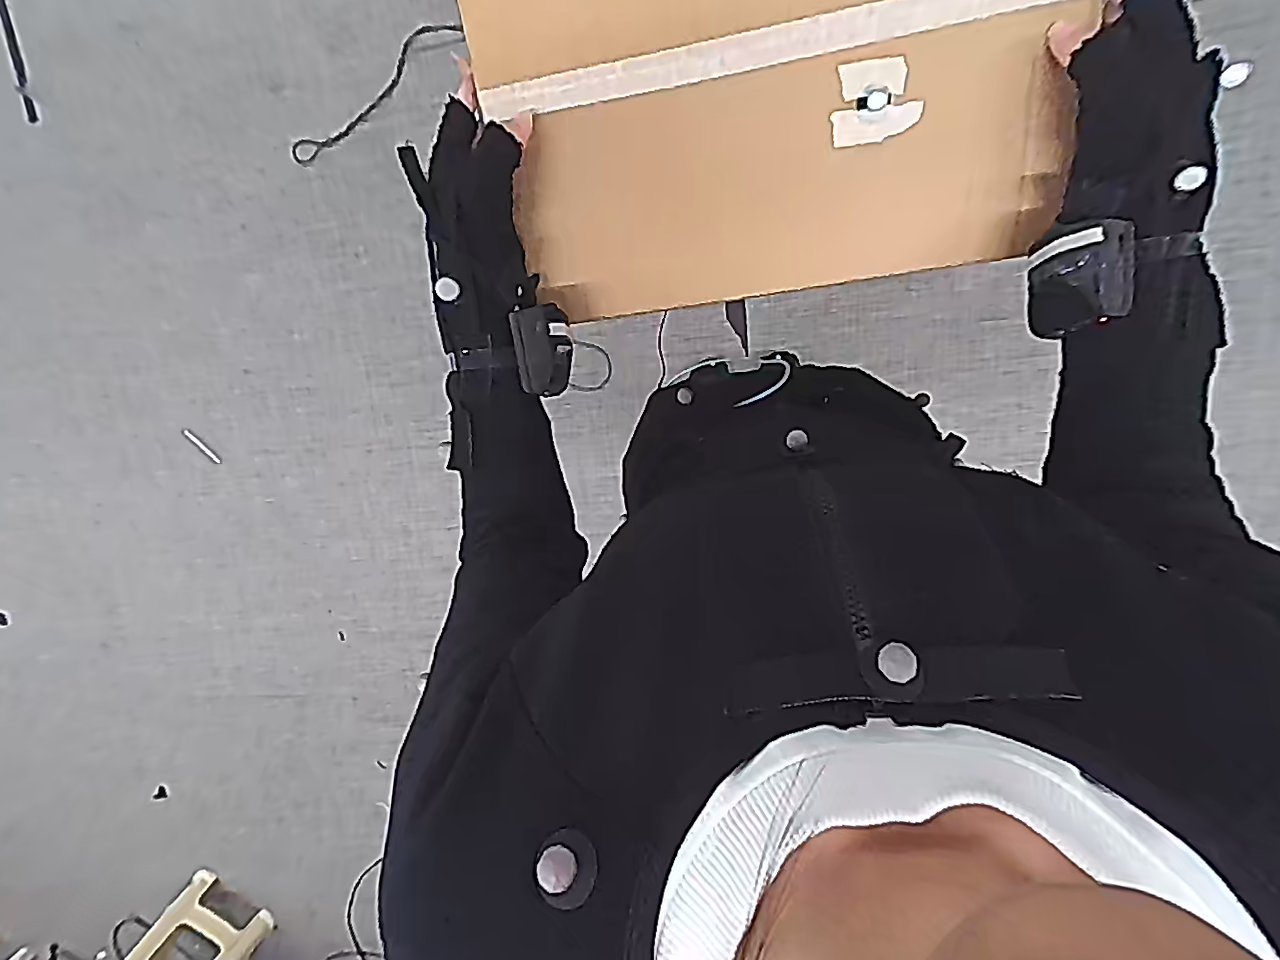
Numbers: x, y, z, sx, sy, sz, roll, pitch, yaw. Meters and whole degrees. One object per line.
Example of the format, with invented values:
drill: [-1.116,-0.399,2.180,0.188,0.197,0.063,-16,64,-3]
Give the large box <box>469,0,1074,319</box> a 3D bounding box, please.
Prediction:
large box: [0.096,-0.353,0.513,0.408,0.320,0.320,-7,111,7]
